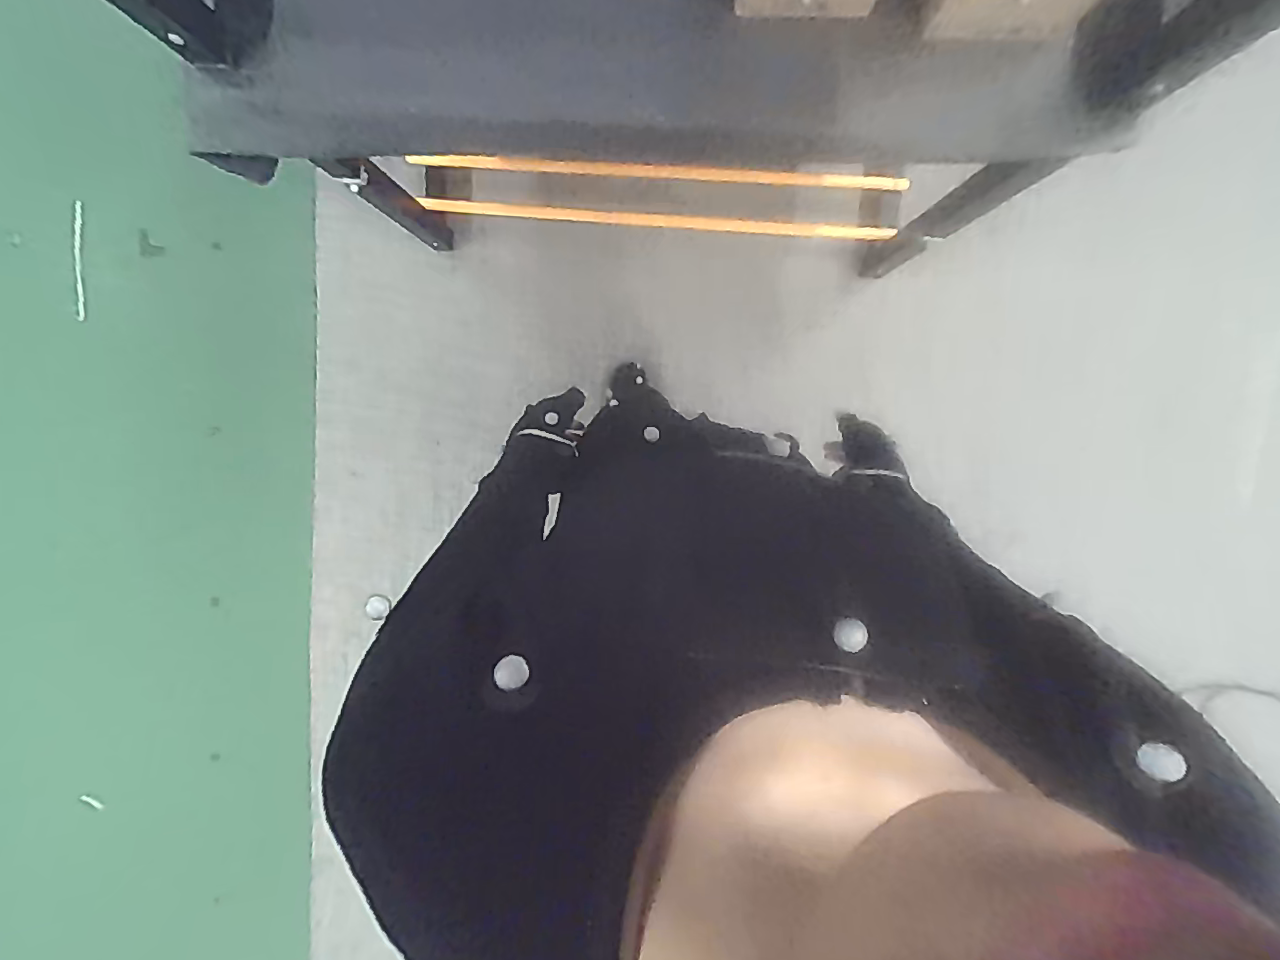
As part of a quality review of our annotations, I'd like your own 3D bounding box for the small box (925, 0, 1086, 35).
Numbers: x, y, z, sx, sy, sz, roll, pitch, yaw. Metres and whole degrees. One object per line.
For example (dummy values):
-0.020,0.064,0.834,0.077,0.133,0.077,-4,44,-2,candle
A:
0.428,-0.620,0.574,0.168,0.176,0.179,3,96,2,small box
